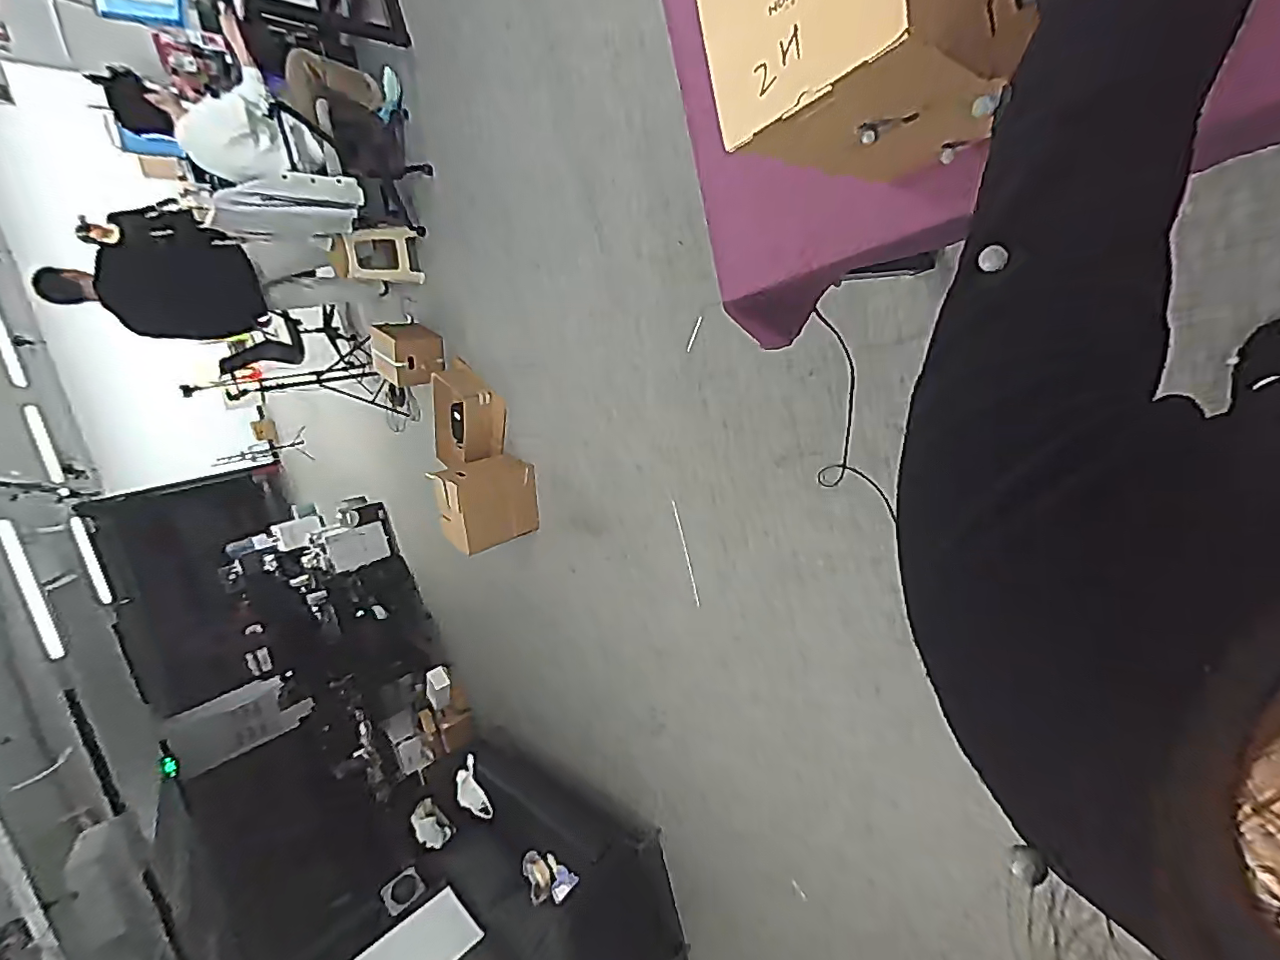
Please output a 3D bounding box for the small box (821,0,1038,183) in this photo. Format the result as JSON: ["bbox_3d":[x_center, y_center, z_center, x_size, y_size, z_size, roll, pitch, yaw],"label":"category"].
[{"bbox_3d":[0.299,-0.442,0.575,0.179,0.176,0.168,-5,101,49],"label":"small box"}]

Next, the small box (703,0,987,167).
[{"bbox_3d":[0.177,-0.402,0.470,0.168,0.176,0.179,-2,104,50],"label":"small box"}]
